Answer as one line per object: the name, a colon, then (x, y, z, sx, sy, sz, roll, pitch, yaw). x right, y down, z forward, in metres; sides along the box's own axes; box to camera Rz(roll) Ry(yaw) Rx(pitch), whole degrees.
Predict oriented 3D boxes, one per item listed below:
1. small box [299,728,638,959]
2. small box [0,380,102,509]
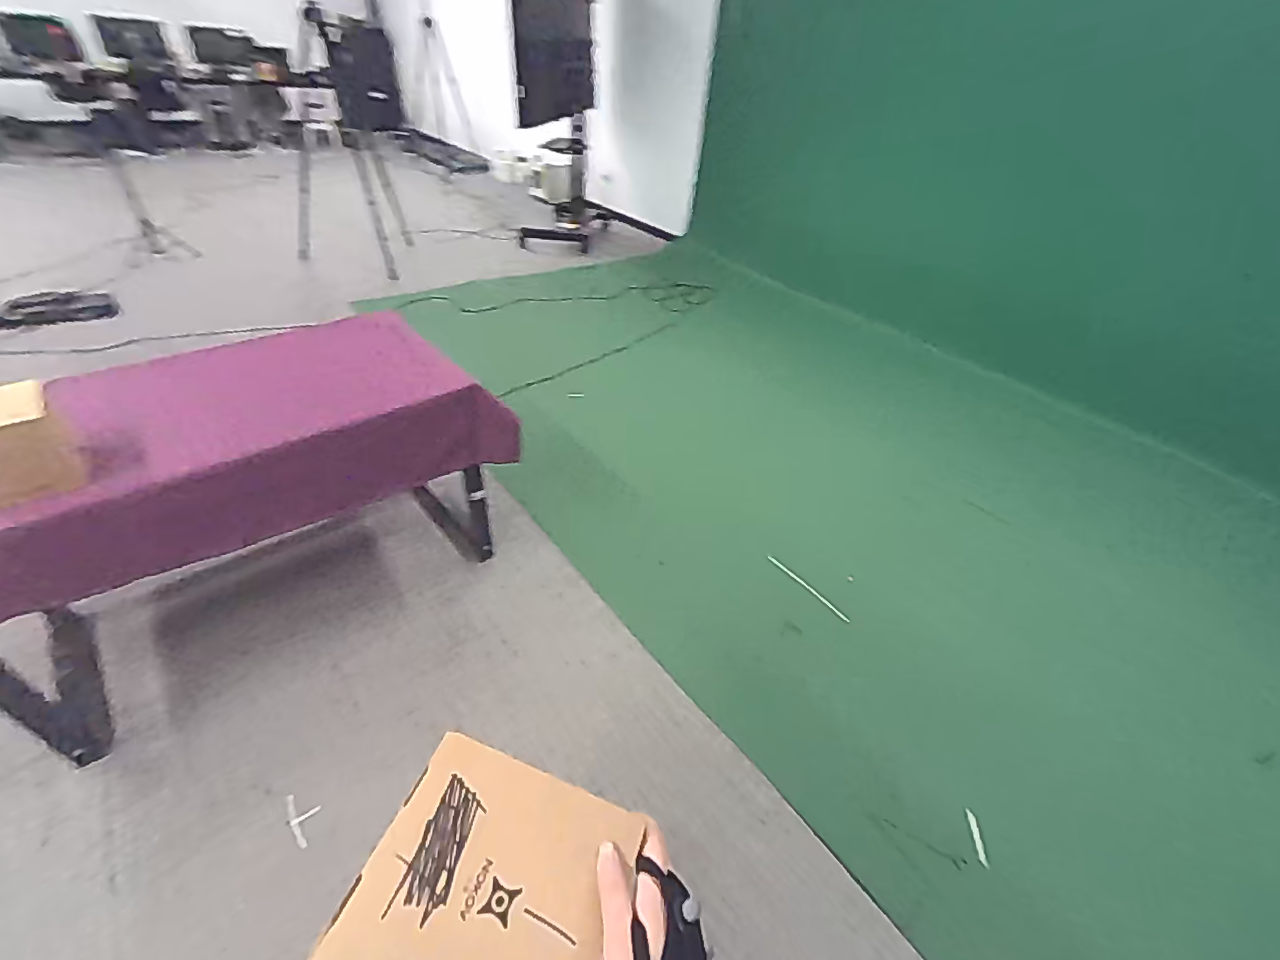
small box: (-0.118, 0.337, 0.433, 0.179, 0.176, 0.168, 19, 47, 9)
small box: (-1.221, -0.072, 1.075, 0.168, 0.176, 0.179, -25, 47, -31)
